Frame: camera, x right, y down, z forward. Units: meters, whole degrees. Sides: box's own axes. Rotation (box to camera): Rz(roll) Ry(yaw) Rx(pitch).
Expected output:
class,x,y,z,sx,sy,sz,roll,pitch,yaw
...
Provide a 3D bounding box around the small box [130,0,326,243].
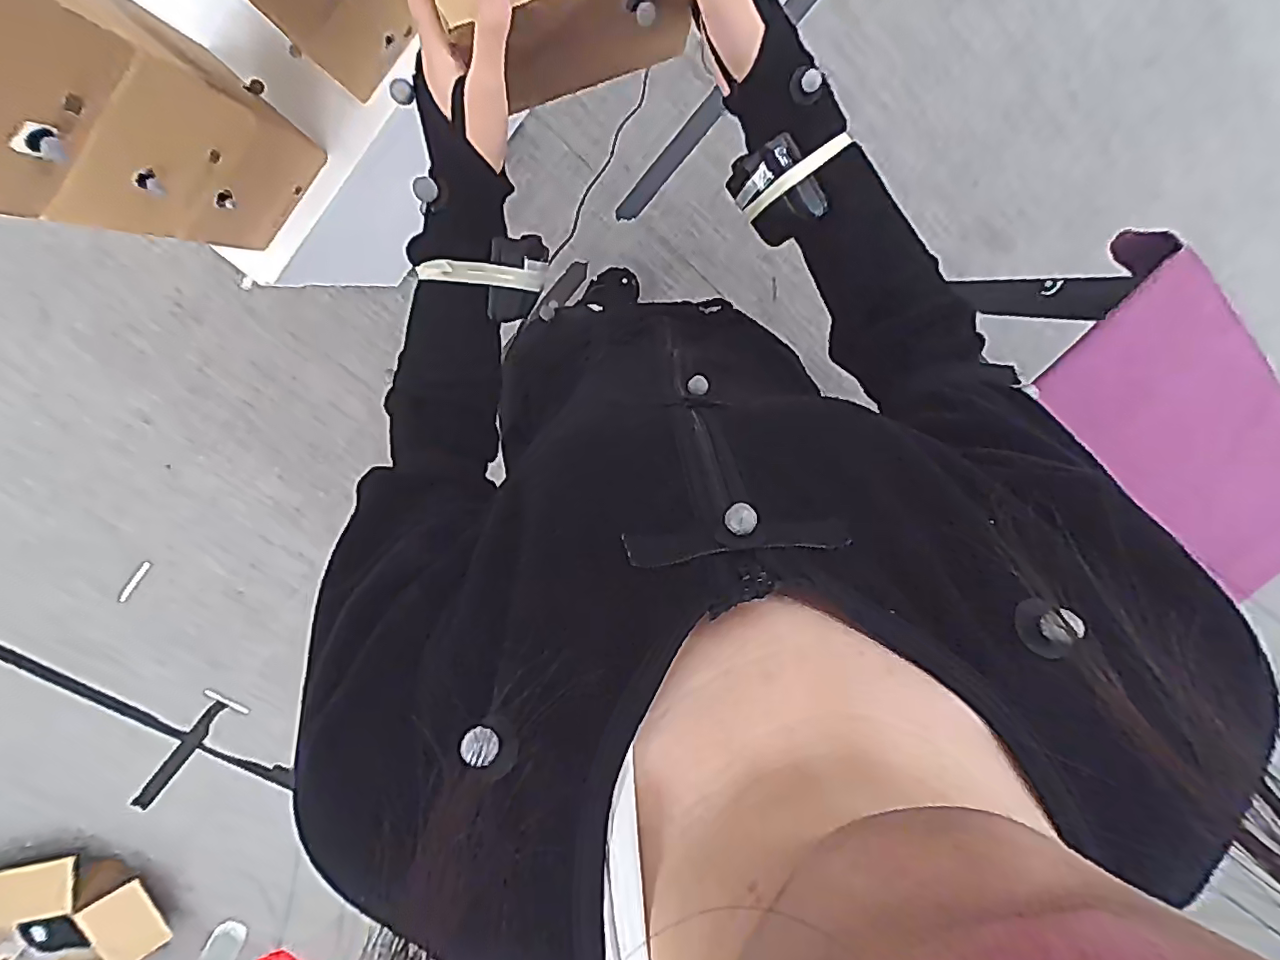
class,x,y,z,sx,sy,sz,roll,pitch,yaw
small box,-0.519,-0.402,0.630,0.179,0.176,0.168,40,102,-16

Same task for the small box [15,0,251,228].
class,x,y,z,sx,sy,sz,roll,pitch,yaw
small box,-0.502,-0.348,0.478,0.179,0.176,0.168,39,101,-16

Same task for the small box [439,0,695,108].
class,x,y,z,sx,sy,sz,roll,pitch,yaw
small box,-0.060,-0.397,0.372,0.179,0.176,0.168,-17,108,4

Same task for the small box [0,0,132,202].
class,x,y,z,sx,sy,sz,roll,pitch,yaw
small box,-0.487,-0.298,0.324,0.179,0.176,0.168,38,102,-17

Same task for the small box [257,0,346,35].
class,x,y,z,sx,sy,sz,roll,pitch,yaw
small box,-0.330,-0.522,0.433,0.179,0.176,0.168,41,101,-18
